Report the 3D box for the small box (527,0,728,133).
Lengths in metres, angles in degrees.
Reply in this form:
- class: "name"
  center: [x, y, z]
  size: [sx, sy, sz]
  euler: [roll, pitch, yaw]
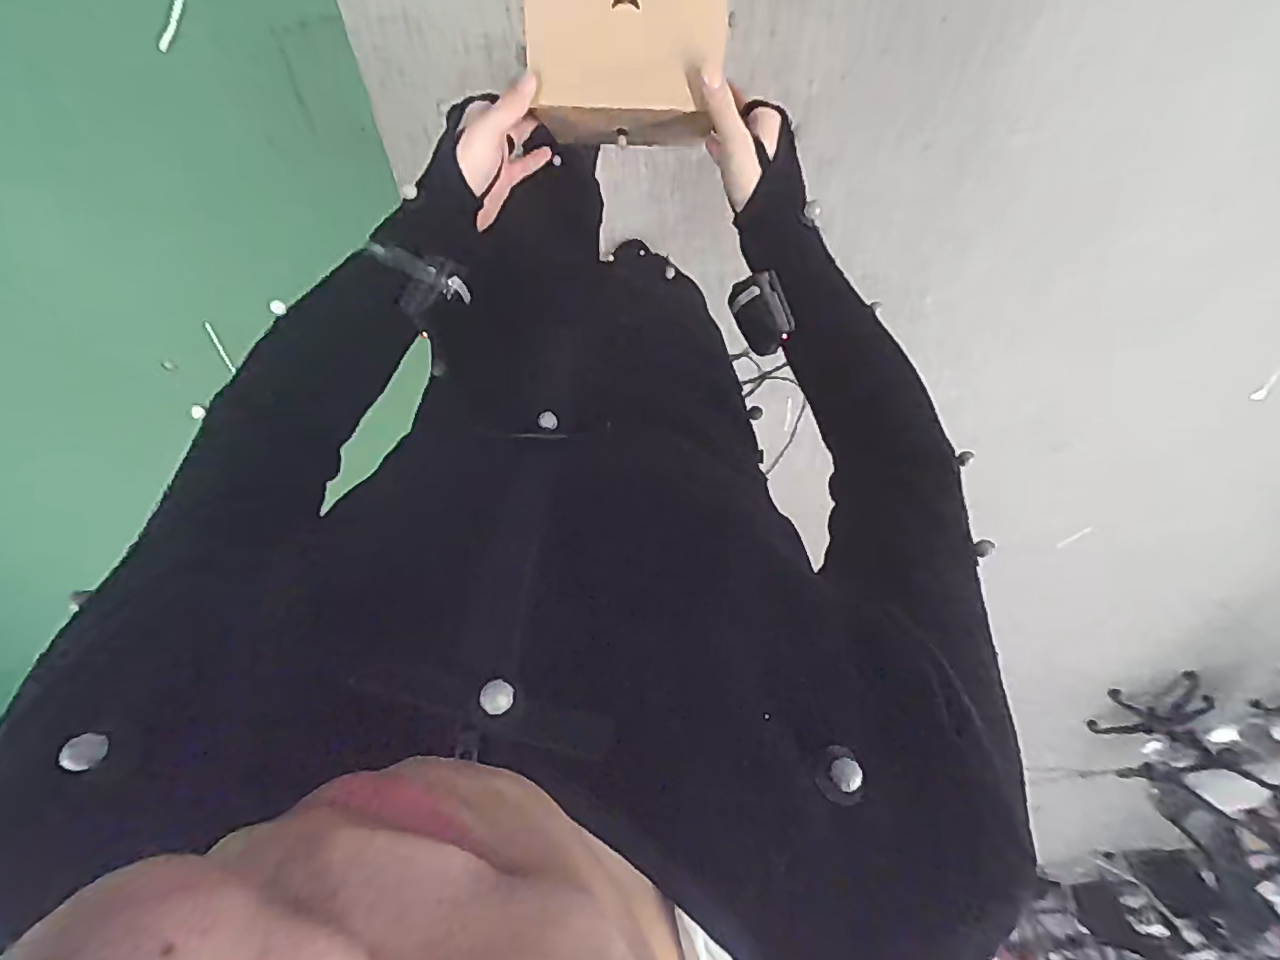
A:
- class: "small box"
  center: [-0.006, -0.437, 0.498]
  size: [0.168, 0.176, 0.179]
  euler: [2, 112, 0]
